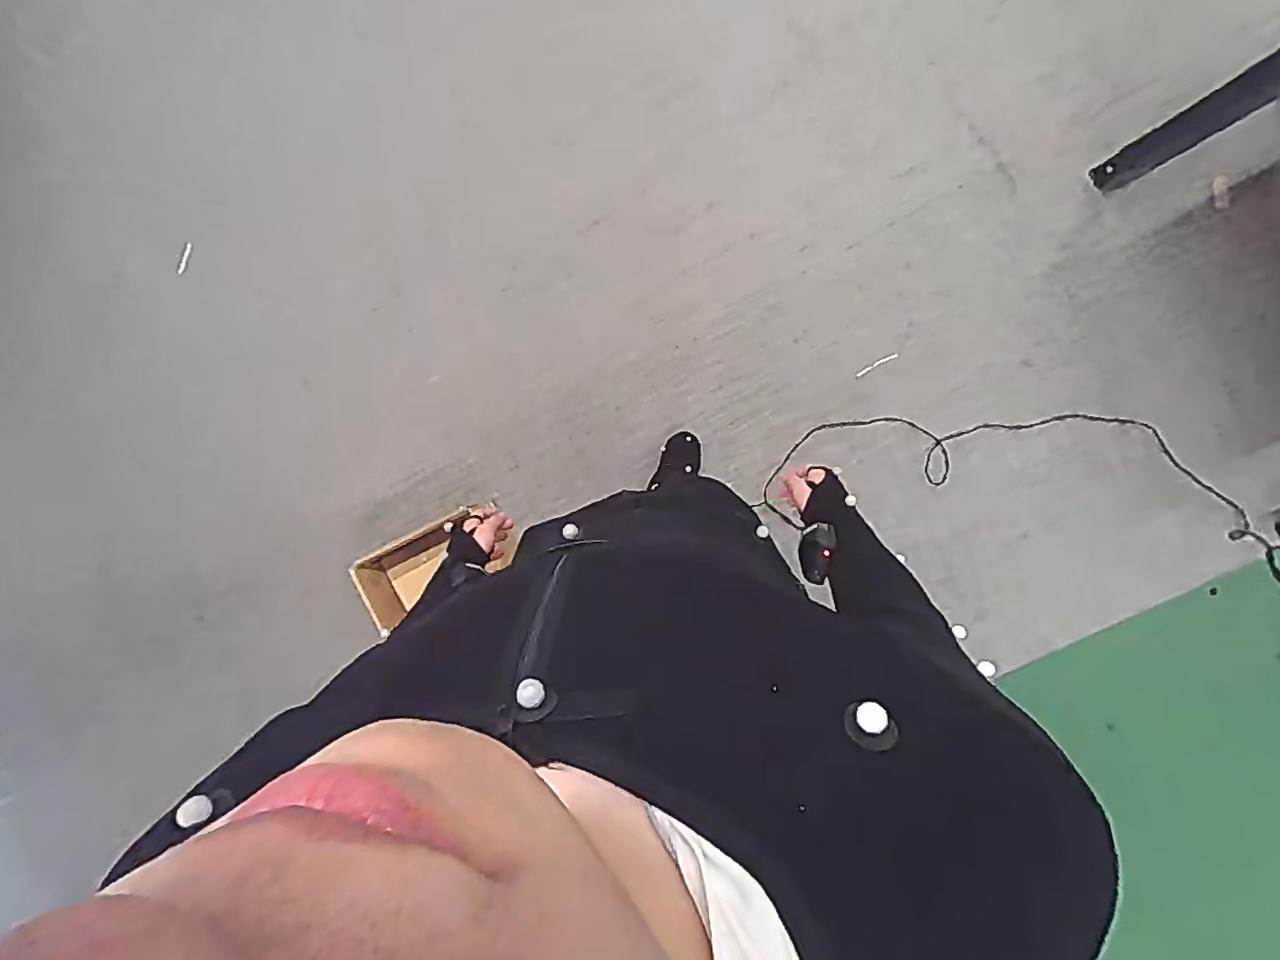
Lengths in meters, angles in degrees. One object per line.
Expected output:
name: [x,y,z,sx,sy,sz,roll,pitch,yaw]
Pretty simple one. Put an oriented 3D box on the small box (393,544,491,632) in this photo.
small box: [-0.563,0.305,1.559,0.179,0.176,0.168,-29,92,4]
